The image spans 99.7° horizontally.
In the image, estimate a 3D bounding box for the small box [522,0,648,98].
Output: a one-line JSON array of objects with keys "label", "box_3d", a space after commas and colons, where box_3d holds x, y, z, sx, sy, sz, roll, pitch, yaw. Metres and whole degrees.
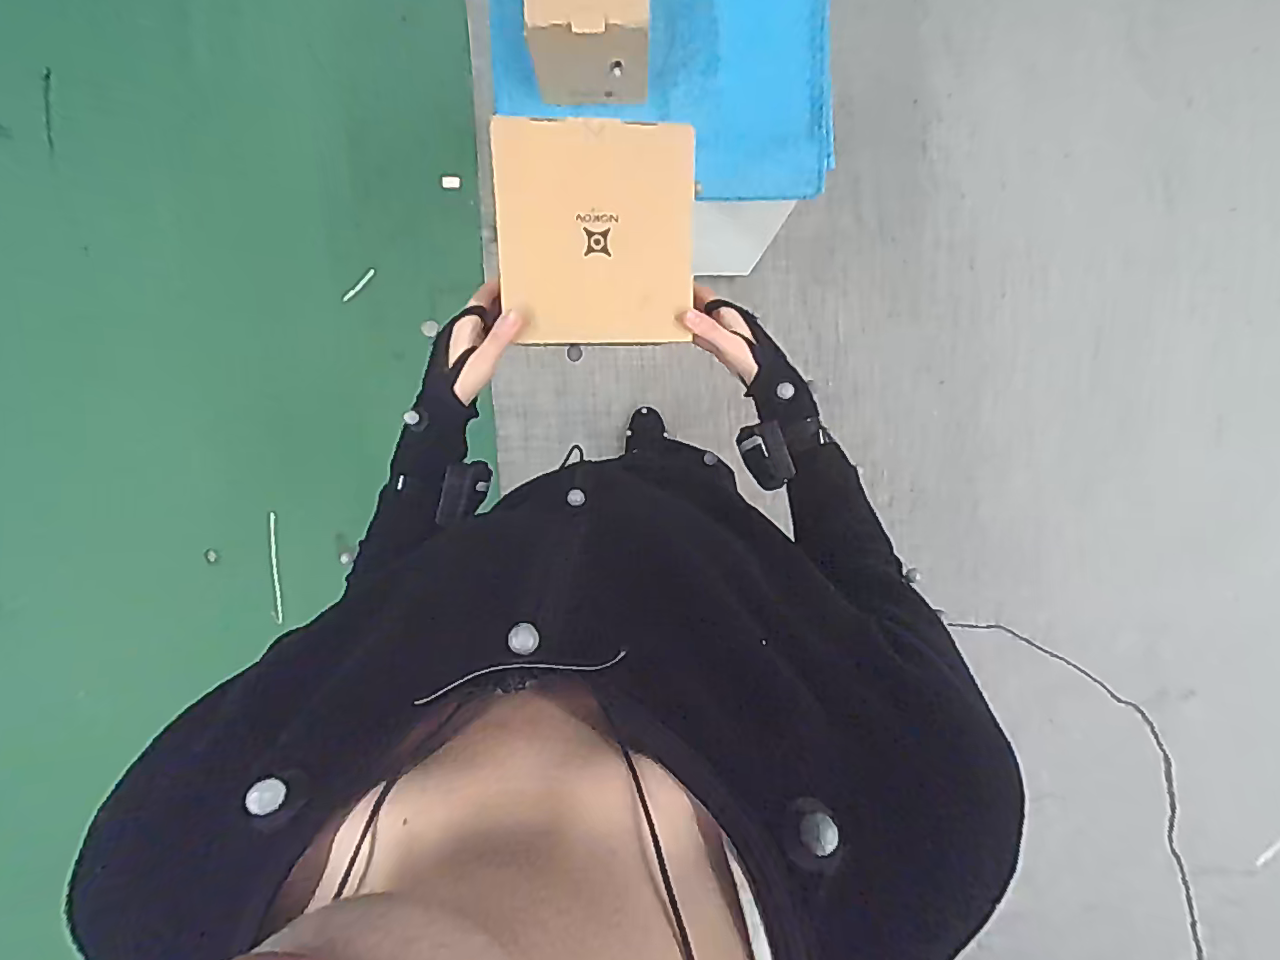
[{"label": "small box", "box_3d": [-0.071, -0.680, 0.768, 0.168, 0.176, 0.179, 0, 93, -2]}]

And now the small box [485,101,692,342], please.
[{"label": "small box", "box_3d": [-0.049, -0.225, 0.520, 0.168, 0.176, 0.179, -2, 102, -7]}]
